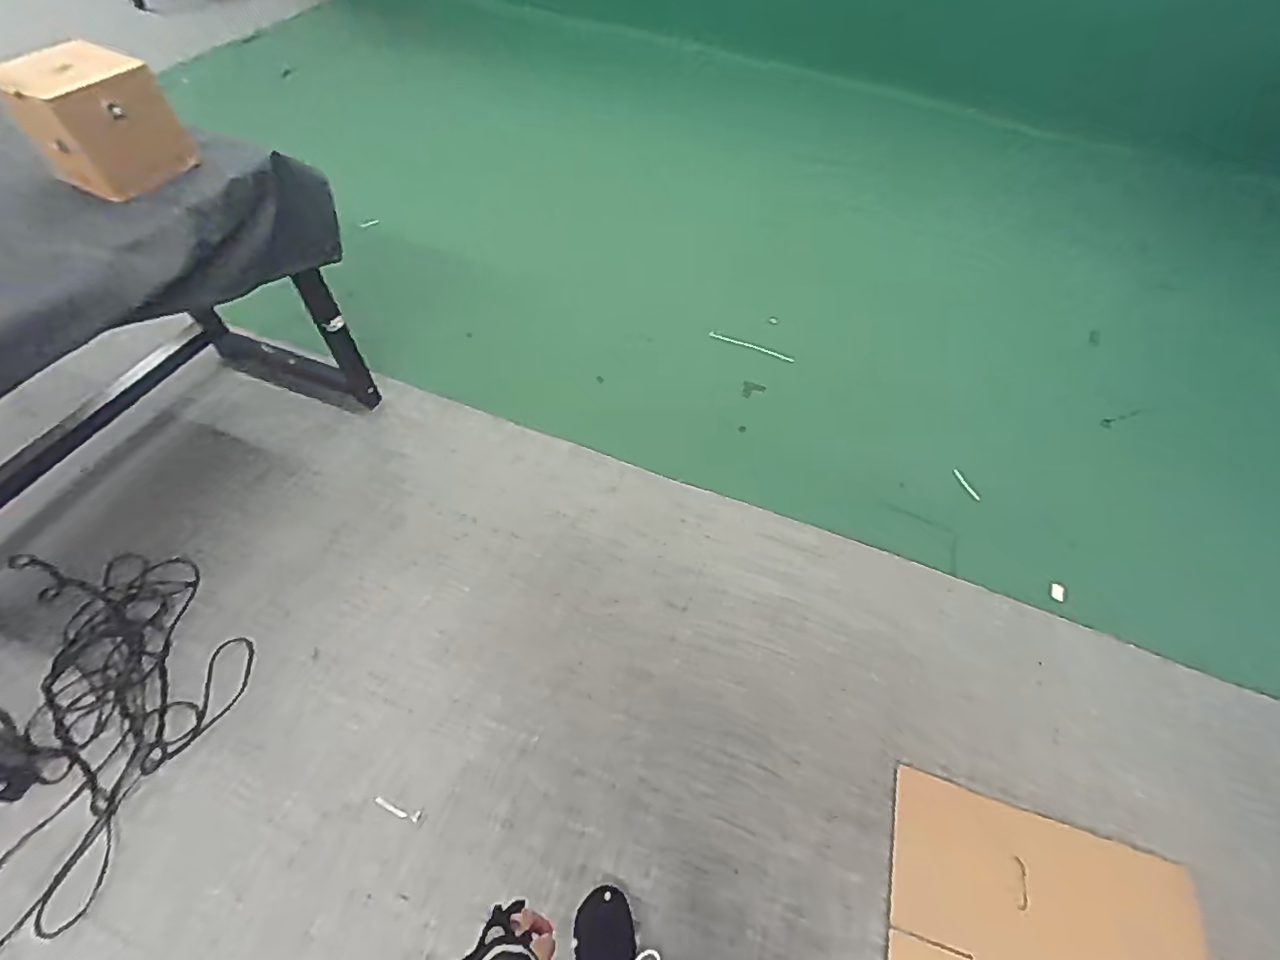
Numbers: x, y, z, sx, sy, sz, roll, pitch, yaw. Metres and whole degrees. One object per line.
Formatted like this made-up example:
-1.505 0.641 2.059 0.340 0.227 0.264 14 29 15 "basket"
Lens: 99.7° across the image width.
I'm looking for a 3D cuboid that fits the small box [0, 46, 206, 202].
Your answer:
-0.942 -0.629 0.963 0.168 0.176 0.179 25 57 11 "small box"
